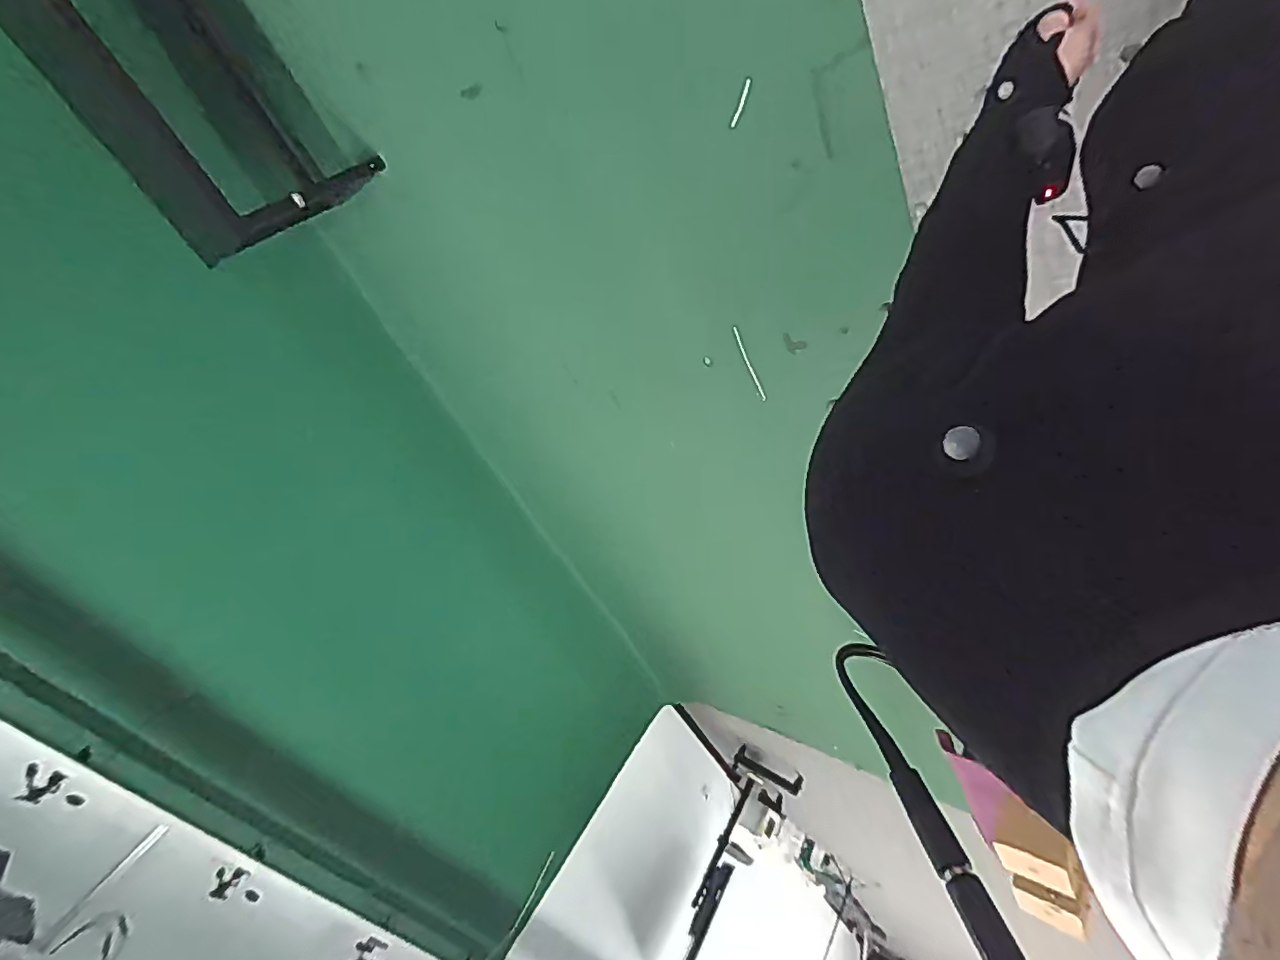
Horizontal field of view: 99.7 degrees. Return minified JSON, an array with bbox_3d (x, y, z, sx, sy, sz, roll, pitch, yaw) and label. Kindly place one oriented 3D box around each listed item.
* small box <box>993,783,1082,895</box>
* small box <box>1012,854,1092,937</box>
[{"bbox_3d":[1.104,0.986,1.497,0.168,0.176,0.179,-2,129,47],"label":"small box"},{"bbox_3d":[1.253,1.218,1.639,0.168,0.176,0.179,1,132,46],"label":"small box"}]
